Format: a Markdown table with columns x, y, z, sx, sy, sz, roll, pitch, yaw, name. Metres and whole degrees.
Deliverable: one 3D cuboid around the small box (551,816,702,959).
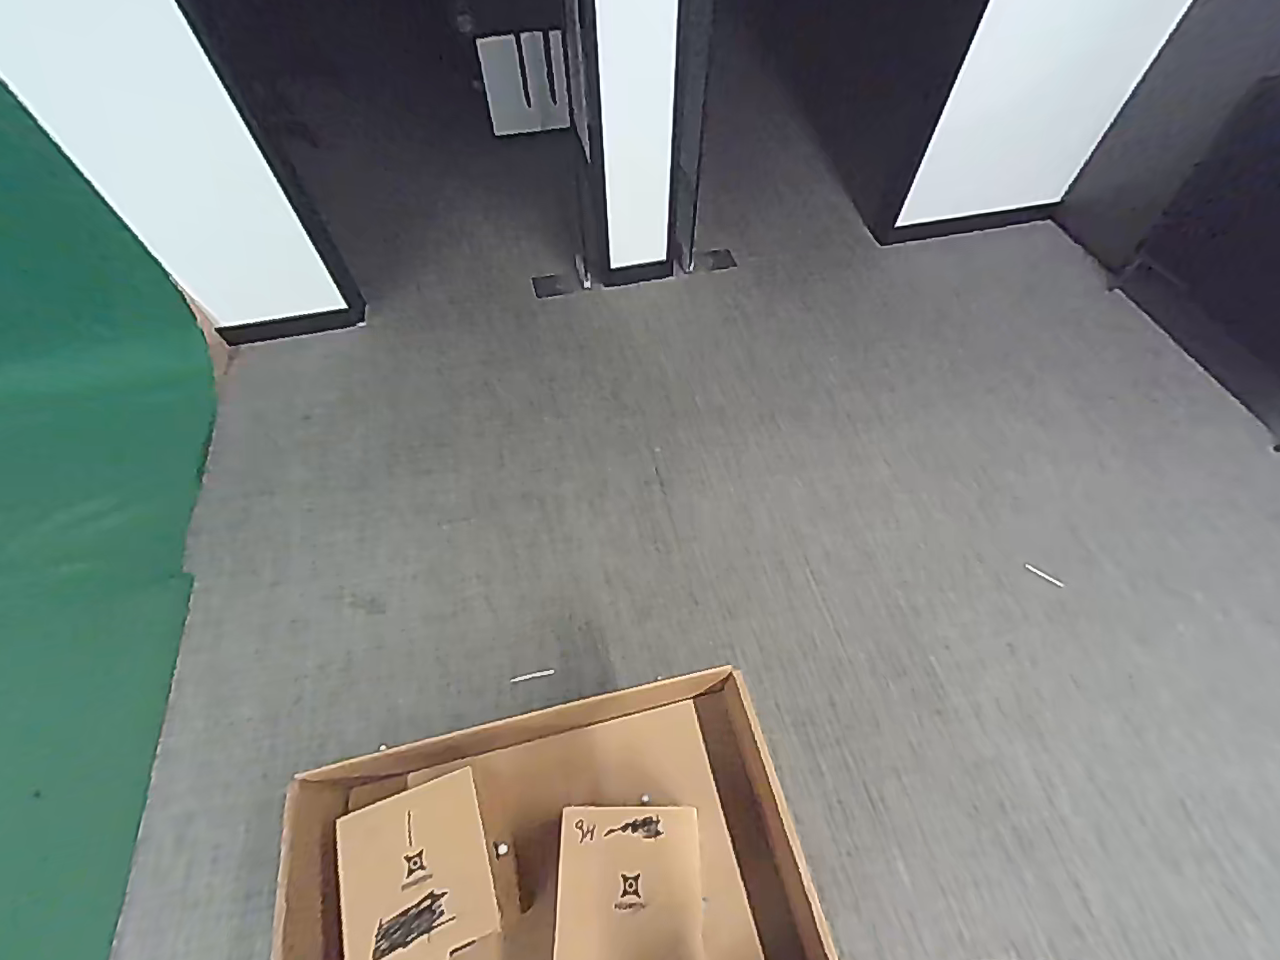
| x | y | z | sx | sy | sz | roll | pitch | yaw | name |
| --- | --- | --- | --- | --- | --- | --- | --- | --- | --- |
| -0.013 | 0.522 | 0.670 | 0.168 | 0.176 | 0.179 | 0 | 57 | 0 | small box |
